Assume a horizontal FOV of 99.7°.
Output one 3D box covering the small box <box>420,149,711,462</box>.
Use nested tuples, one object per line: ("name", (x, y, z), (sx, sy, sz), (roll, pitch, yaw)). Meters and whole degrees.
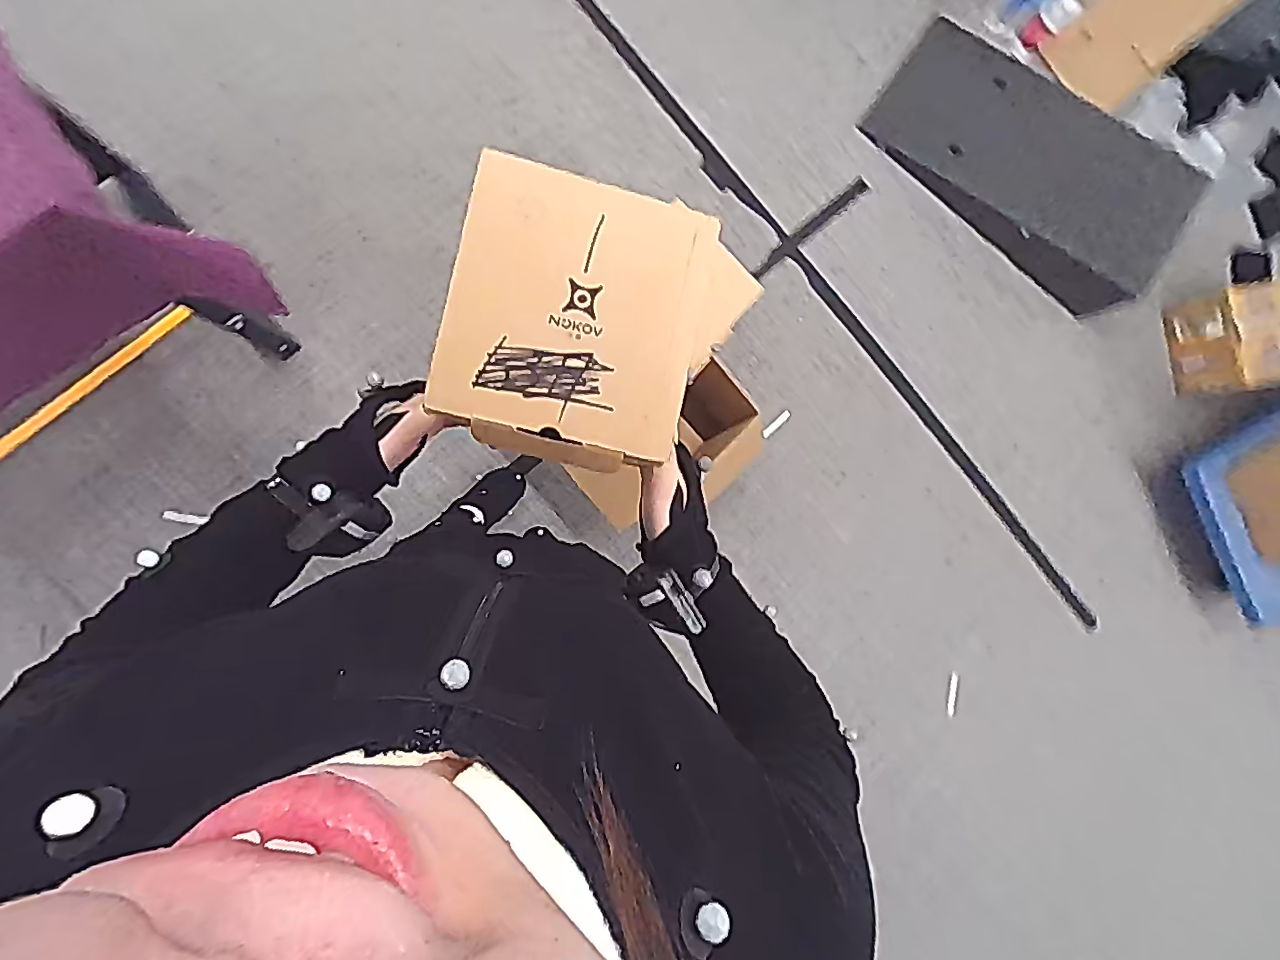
("small box", (-0.057, -0.115, 0.438), (0.168, 0.176, 0.179), (12, 89, -8))

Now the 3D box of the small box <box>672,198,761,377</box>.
("small box", (0.037, -0.255, 0.785), (0.168, 0.176, 0.179), (44, 85, -10))
